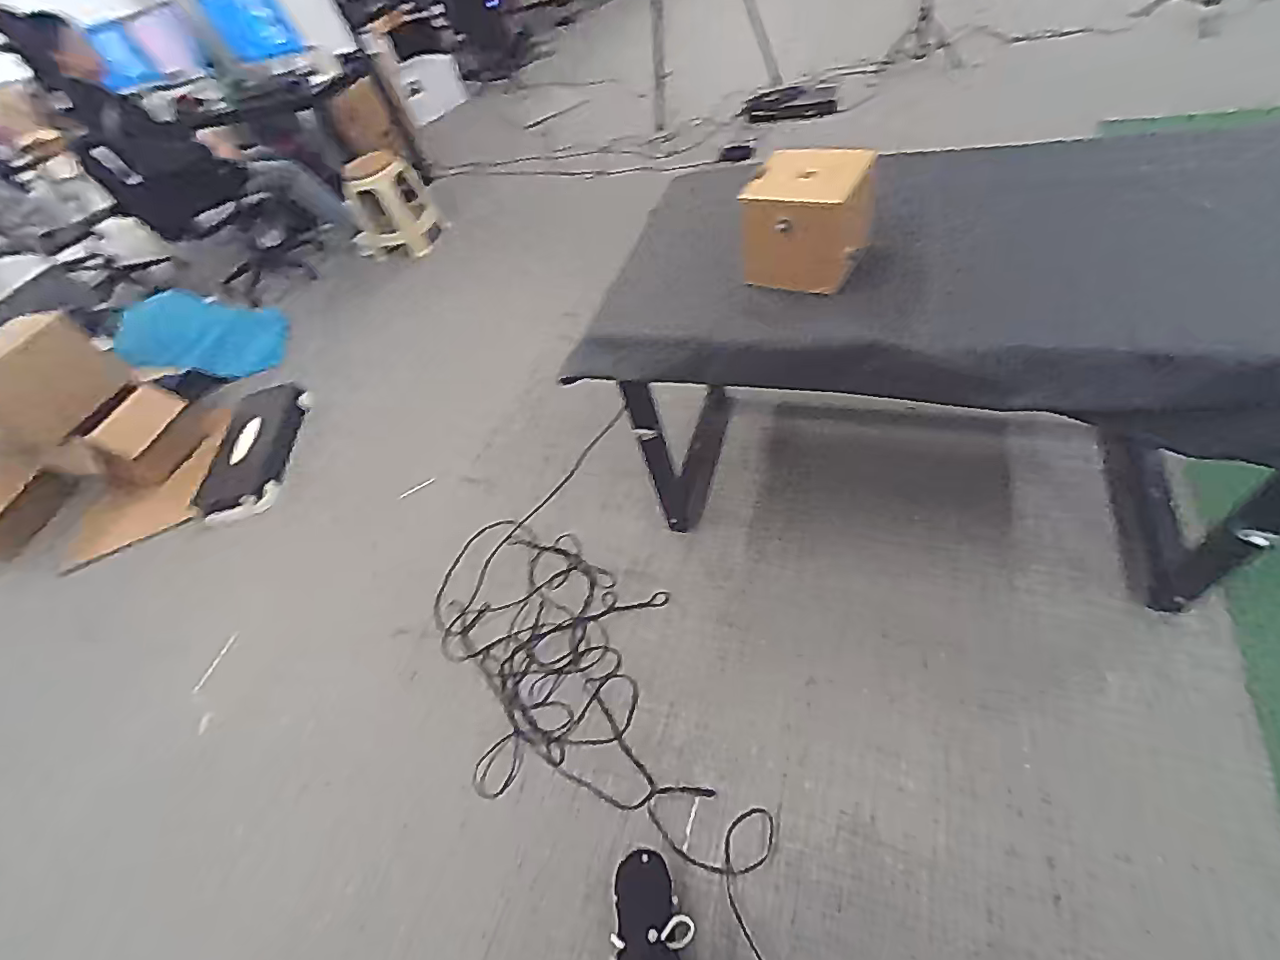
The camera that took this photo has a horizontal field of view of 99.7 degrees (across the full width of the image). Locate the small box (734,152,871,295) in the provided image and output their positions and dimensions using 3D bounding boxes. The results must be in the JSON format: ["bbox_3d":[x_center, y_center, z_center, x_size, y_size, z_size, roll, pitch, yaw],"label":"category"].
[{"bbox_3d":[0.284,-0.449,0.950,0.179,0.176,0.168,20,62,27],"label":"small box"}]
